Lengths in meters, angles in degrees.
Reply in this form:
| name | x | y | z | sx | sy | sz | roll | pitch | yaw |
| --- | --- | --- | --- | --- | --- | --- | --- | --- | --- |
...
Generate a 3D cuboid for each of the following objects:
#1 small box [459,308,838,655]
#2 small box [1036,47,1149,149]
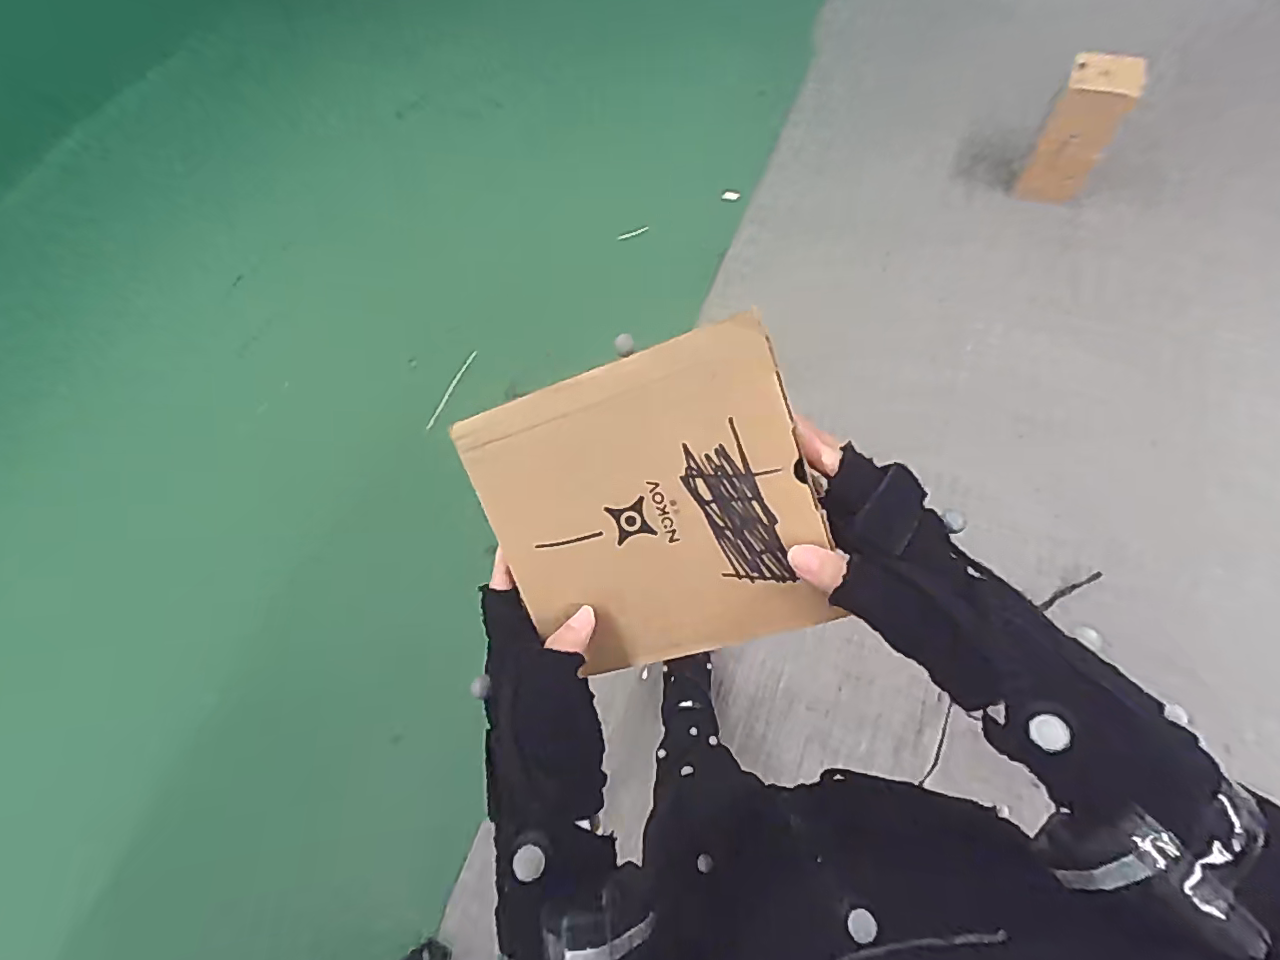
| name | x | y | z | sx | sy | sz | roll | pitch | yaw |
| --- | --- | --- | --- | --- | --- | --- | --- | --- | --- |
| small box | 0.017 | -0.009 | 0.368 | 0.179 | 0.176 | 0.168 | -14 | 101 | 15 |
| small box | 1.279 | -1.081 | 1.538 | 0.179 | 0.176 | 0.168 | 21 | 71 | 16 |
